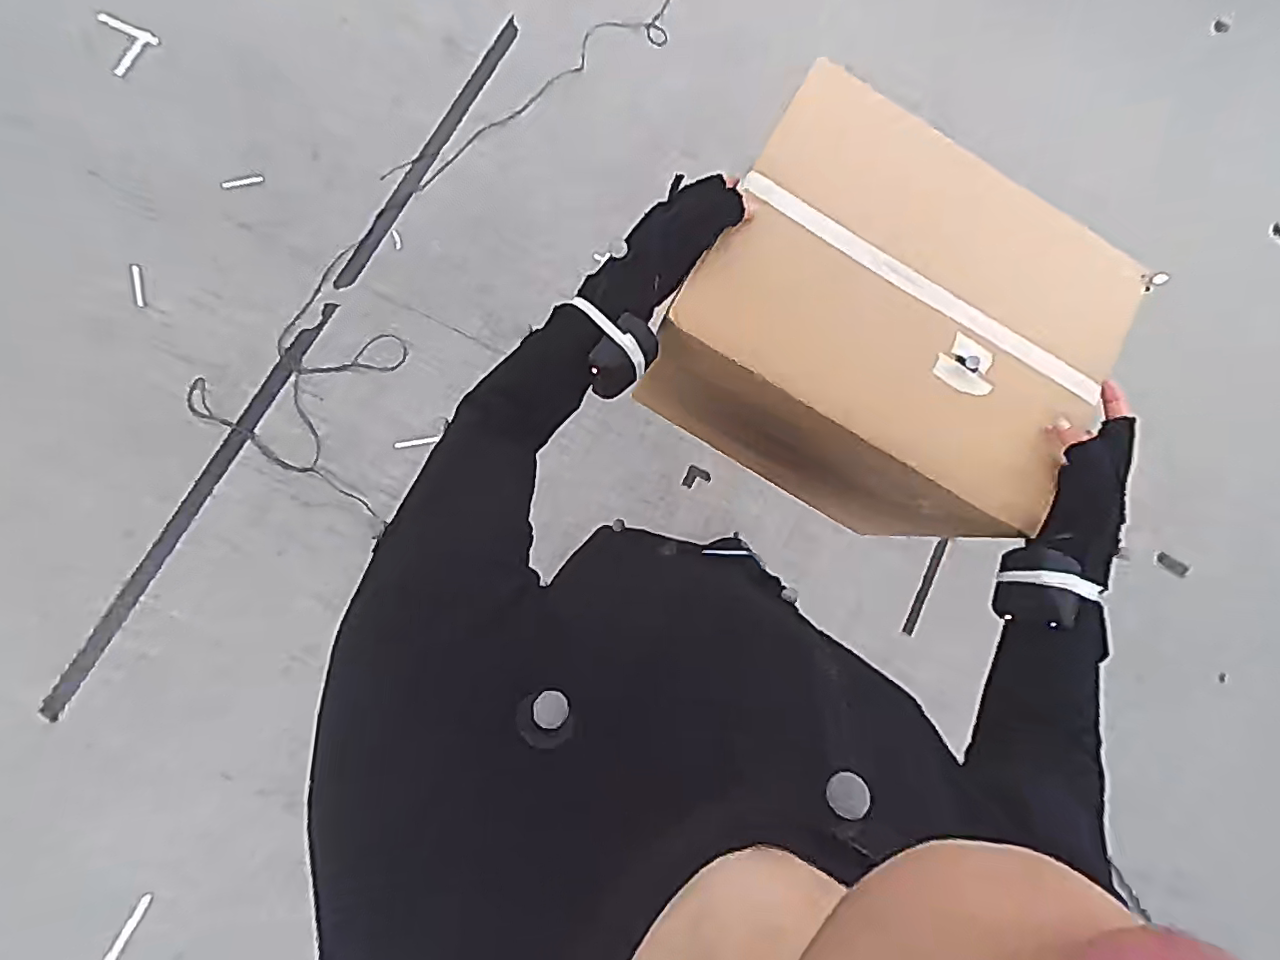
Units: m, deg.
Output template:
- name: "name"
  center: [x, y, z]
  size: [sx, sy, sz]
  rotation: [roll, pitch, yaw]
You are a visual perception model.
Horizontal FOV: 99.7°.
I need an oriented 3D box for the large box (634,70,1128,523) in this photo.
- name: "large box"
  center: [0.250, -0.173, 0.679]
  size: [0.408, 0.320, 0.320]
  rotation: [31, 83, -4]
